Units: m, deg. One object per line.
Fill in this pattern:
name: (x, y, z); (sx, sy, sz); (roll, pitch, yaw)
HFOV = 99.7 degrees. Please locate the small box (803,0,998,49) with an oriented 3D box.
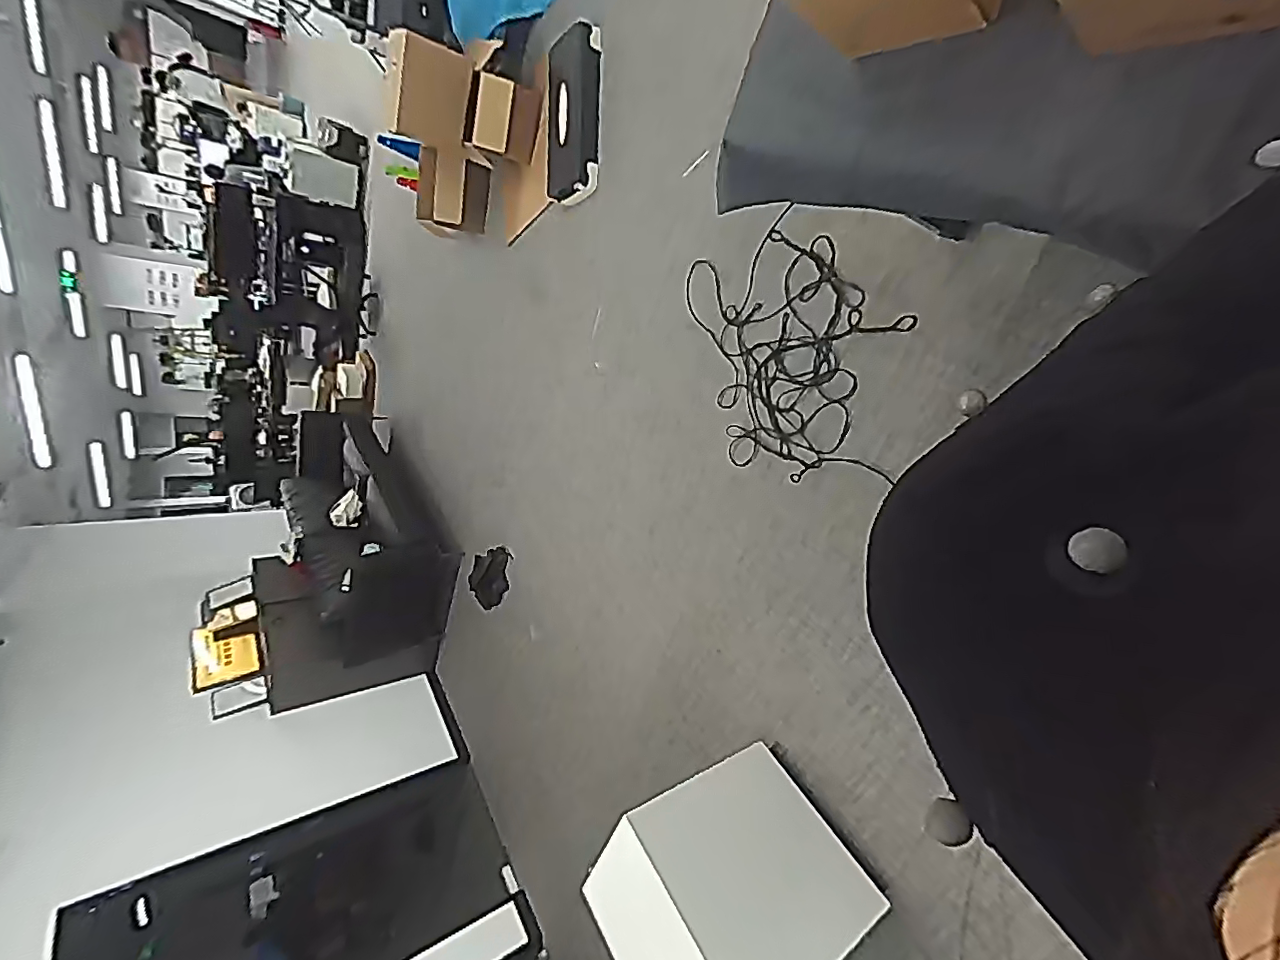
small box: (0.275, -0.589, 0.558); (0.179, 0.176, 0.168); (29, 114, 46)

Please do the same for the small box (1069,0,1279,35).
small box: (0.429, -0.455, 0.379); (0.168, 0.176, 0.179); (31, 115, 44)
